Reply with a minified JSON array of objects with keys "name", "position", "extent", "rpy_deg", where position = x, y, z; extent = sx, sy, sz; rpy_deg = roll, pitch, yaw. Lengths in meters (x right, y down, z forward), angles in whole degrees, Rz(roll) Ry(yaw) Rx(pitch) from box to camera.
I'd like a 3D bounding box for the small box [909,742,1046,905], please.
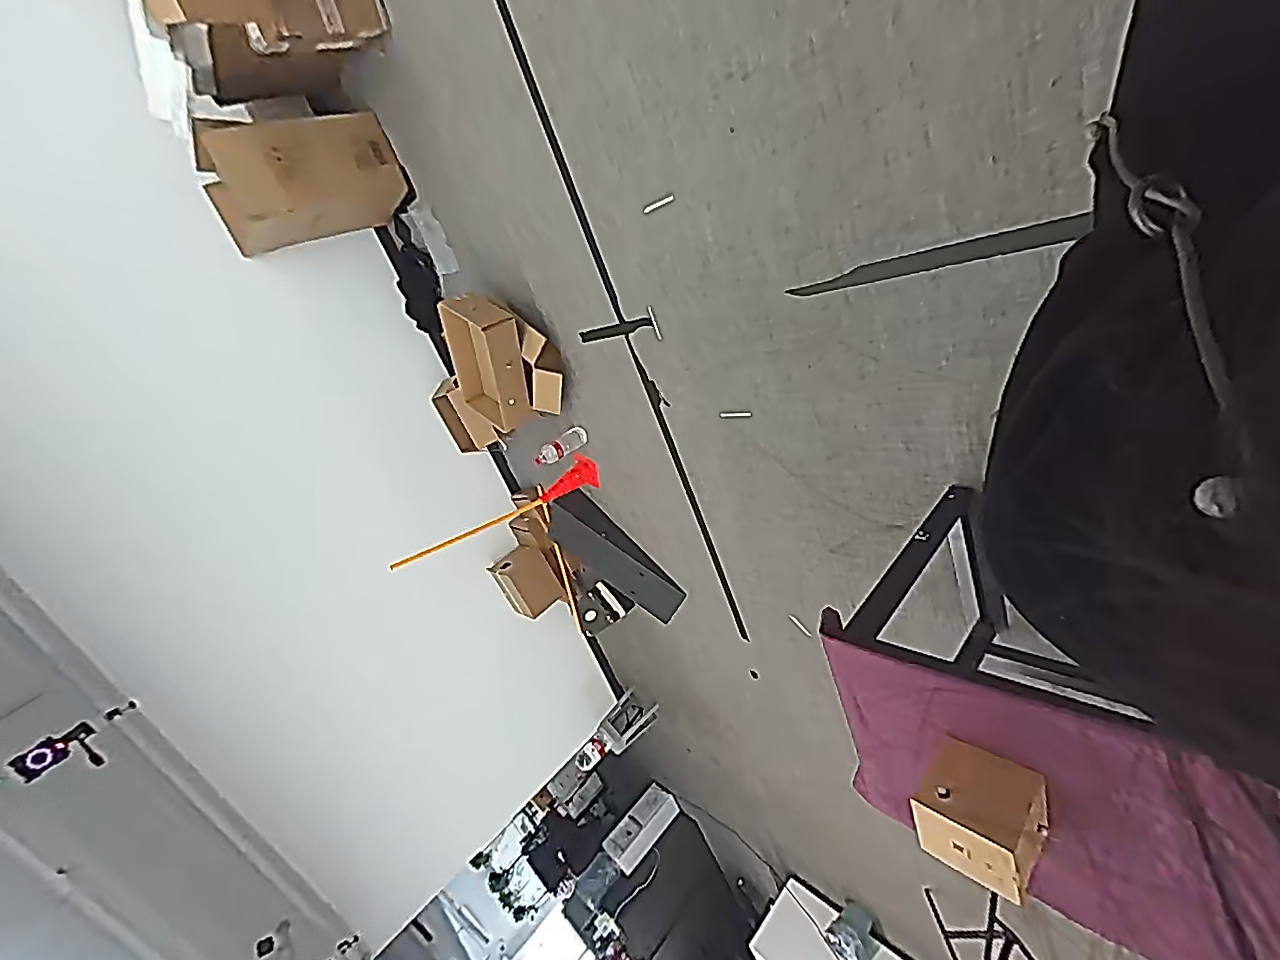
[{"name":"small box","position":[0.649,0.642,1.038],"extent":[0.179,0.176,0.168],"rpy_deg":[8,127,49]}]
